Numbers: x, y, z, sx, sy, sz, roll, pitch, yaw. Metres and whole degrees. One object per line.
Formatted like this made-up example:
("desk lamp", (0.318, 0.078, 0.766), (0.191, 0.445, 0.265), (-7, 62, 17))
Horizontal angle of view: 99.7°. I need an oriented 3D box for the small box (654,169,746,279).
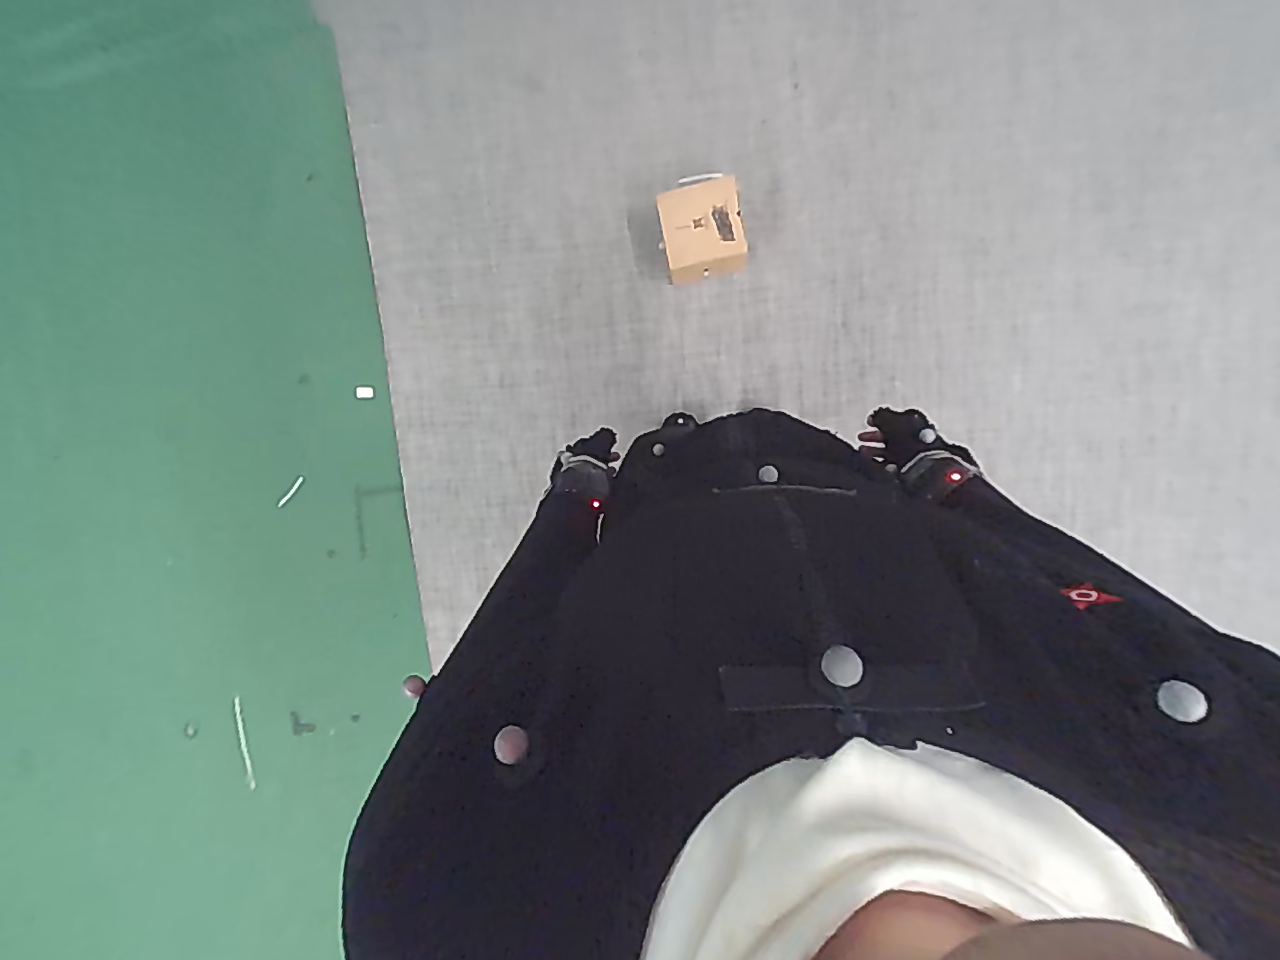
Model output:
("small box", (0.138, -0.588, 1.265), (0.179, 0.176, 0.168), (-14, 97, 7))
